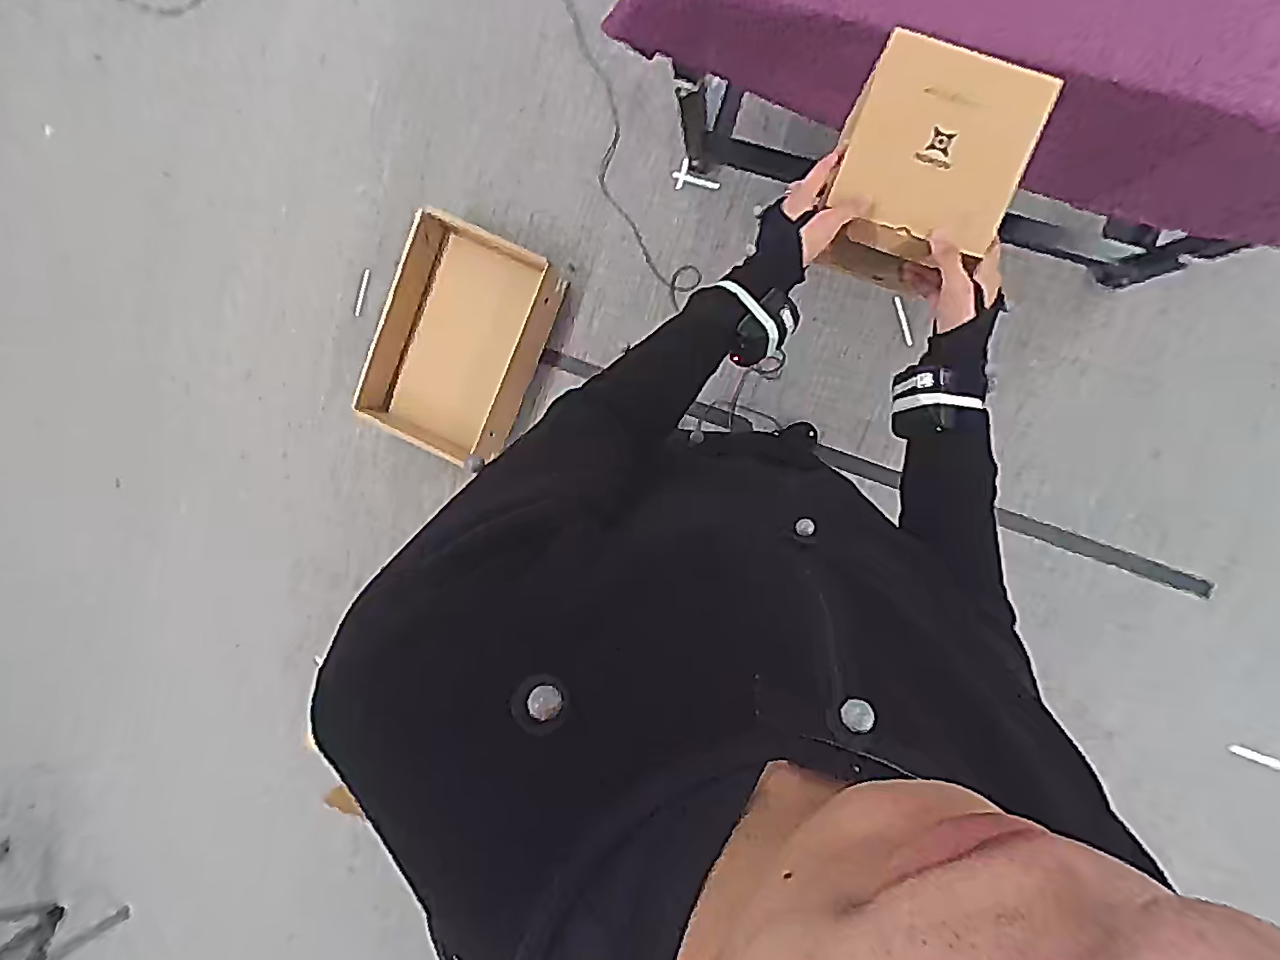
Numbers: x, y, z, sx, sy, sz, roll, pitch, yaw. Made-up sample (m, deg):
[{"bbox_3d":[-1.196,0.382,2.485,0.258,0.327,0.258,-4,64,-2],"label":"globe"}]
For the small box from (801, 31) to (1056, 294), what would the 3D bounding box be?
[{"bbox_3d":[0.294,-0.329,0.601,0.168,0.176,0.179,21,98,3],"label":"small box"}]
